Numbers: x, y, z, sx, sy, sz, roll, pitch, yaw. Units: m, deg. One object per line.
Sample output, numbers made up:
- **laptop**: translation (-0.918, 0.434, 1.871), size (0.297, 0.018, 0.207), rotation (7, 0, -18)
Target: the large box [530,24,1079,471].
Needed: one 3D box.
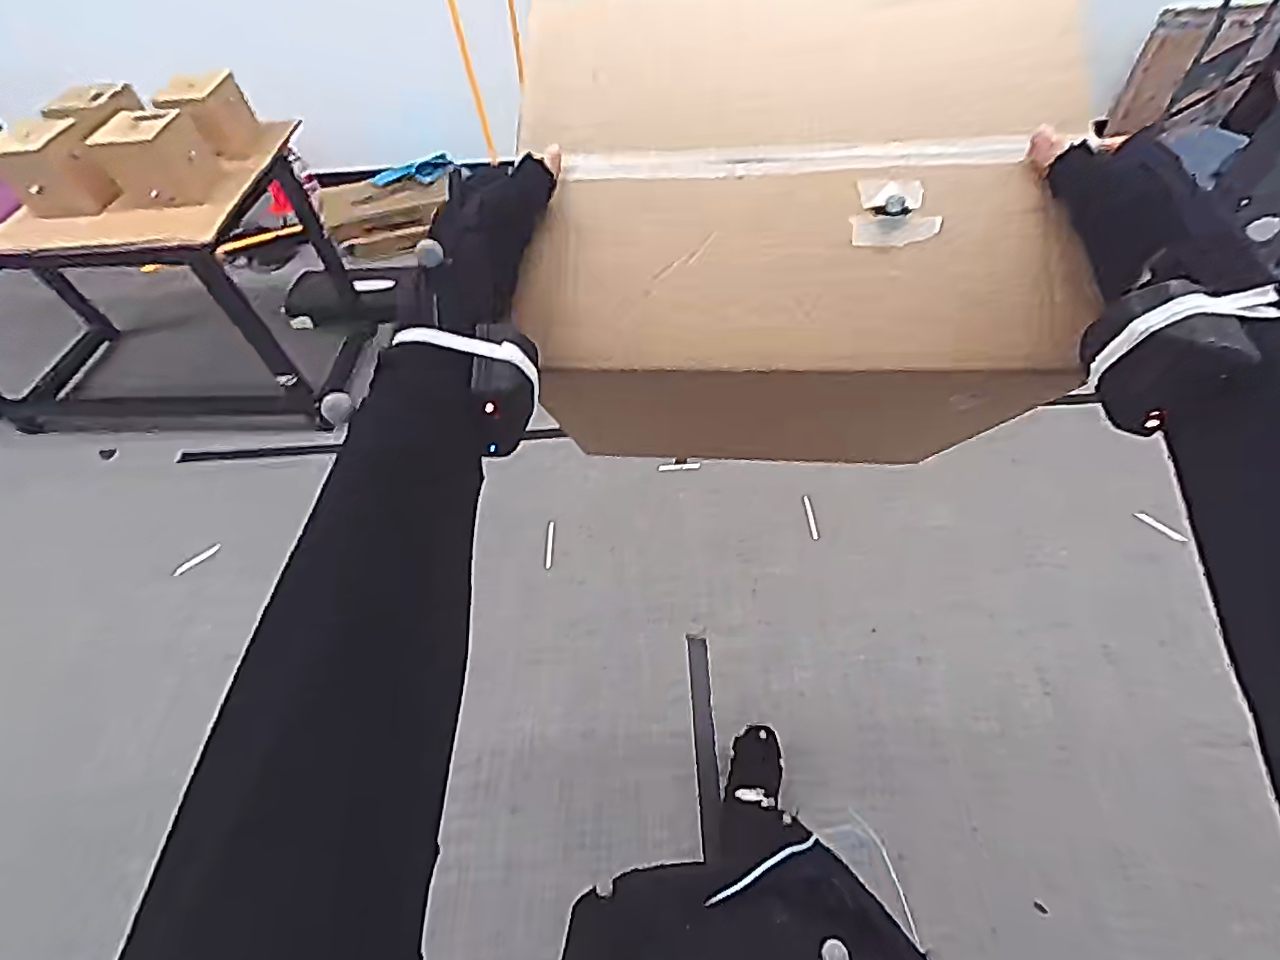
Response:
- **large box**: translation (0.125, -0.188, 0.565), size (0.408, 0.320, 0.320), rotation (1, 81, 5)
